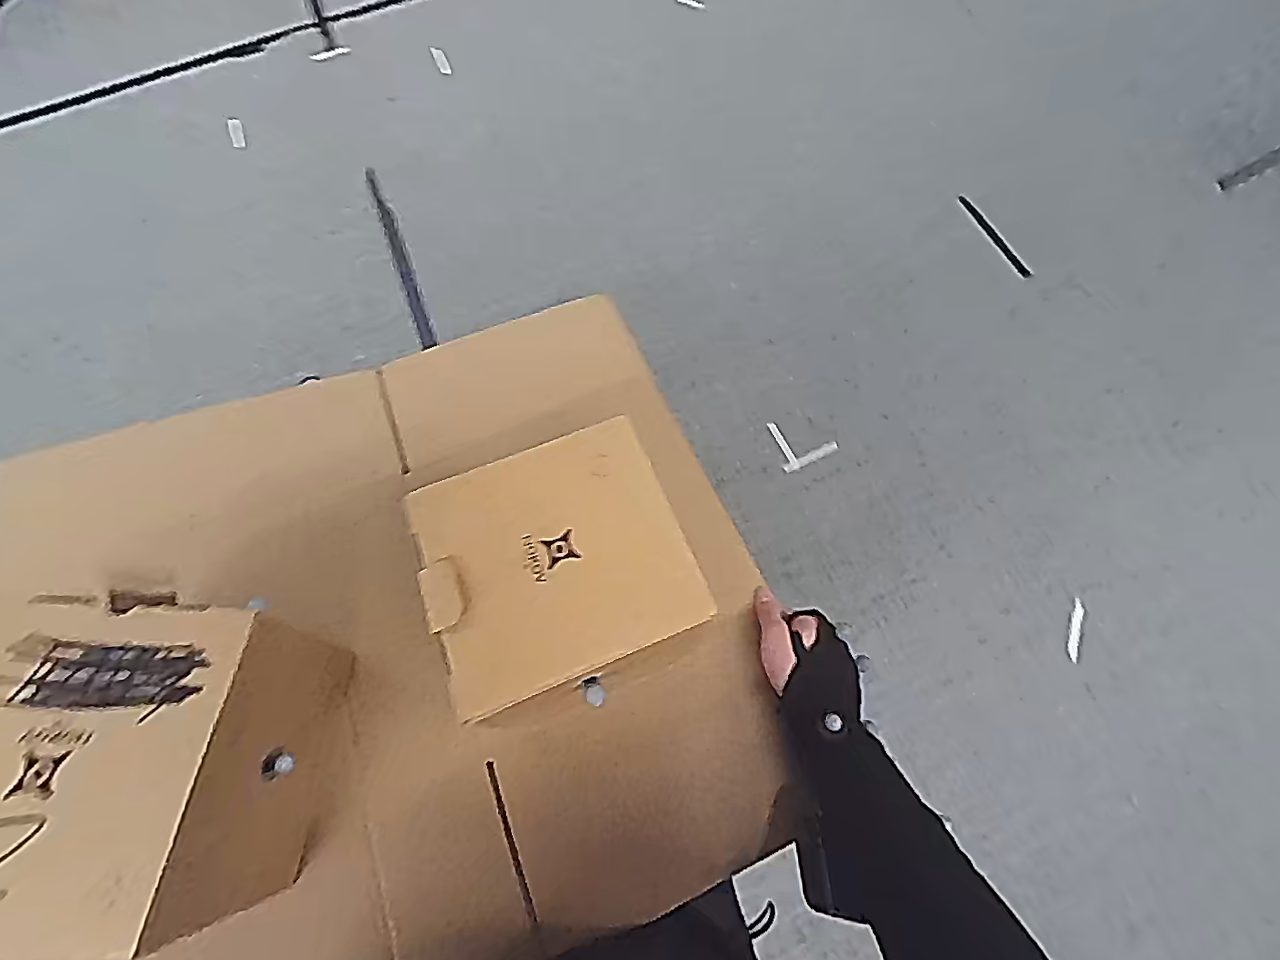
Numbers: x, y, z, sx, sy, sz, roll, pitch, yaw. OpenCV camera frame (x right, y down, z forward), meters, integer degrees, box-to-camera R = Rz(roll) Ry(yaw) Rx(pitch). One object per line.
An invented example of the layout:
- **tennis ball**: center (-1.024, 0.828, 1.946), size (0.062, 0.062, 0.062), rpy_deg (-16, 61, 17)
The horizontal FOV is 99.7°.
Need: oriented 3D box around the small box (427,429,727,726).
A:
- **small box**: center (-0.049, 0.089, 0.455), size (0.179, 0.176, 0.168), rpy_deg (-21, 66, -8)
